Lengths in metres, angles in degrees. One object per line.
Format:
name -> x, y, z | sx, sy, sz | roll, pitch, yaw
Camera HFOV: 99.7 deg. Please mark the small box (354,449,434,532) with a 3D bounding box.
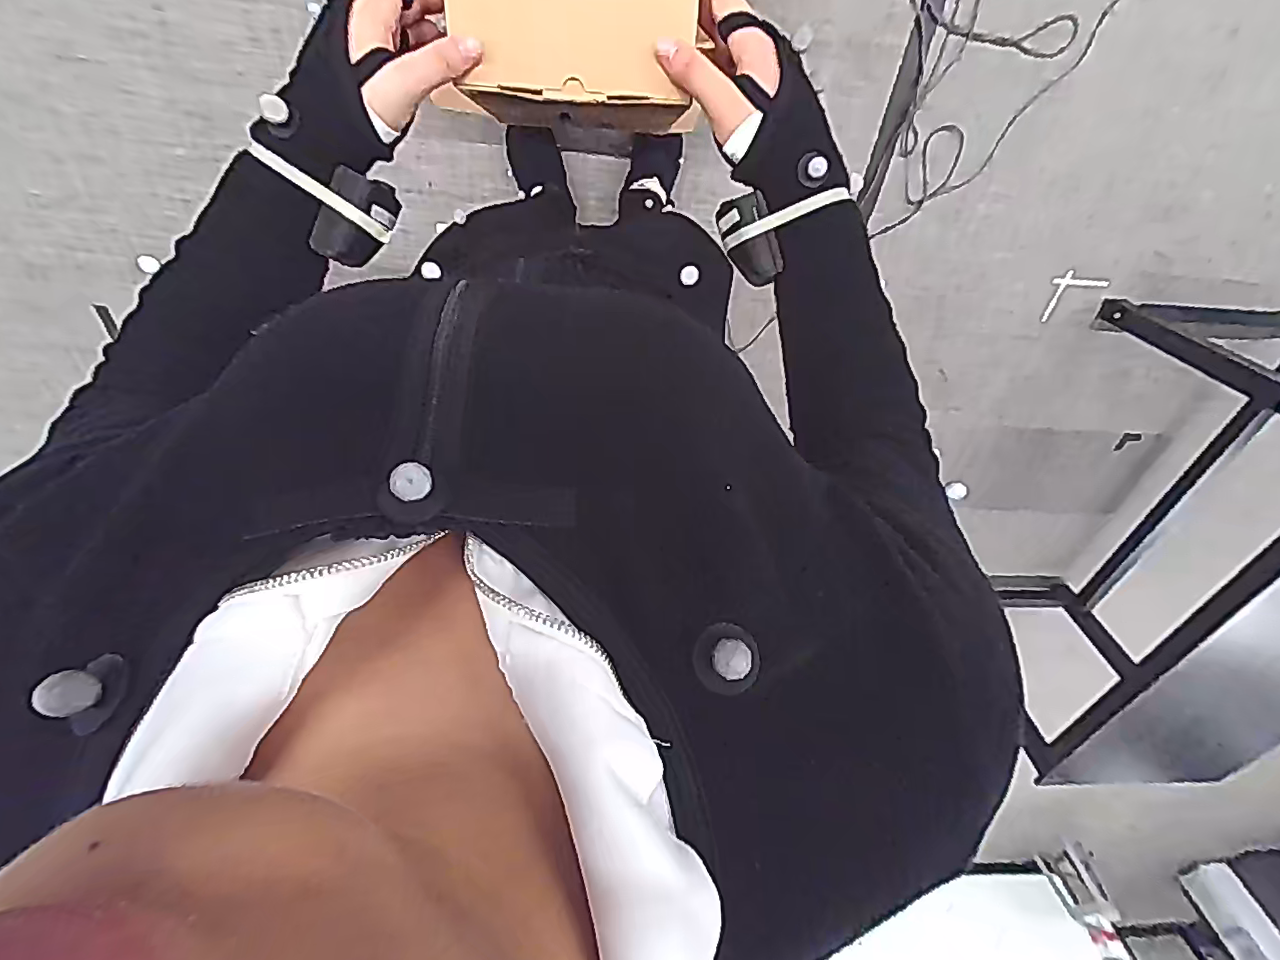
small box -> -0.709, 0.032, 1.583 | 0.168, 0.176, 0.179 | 3, 126, -8
